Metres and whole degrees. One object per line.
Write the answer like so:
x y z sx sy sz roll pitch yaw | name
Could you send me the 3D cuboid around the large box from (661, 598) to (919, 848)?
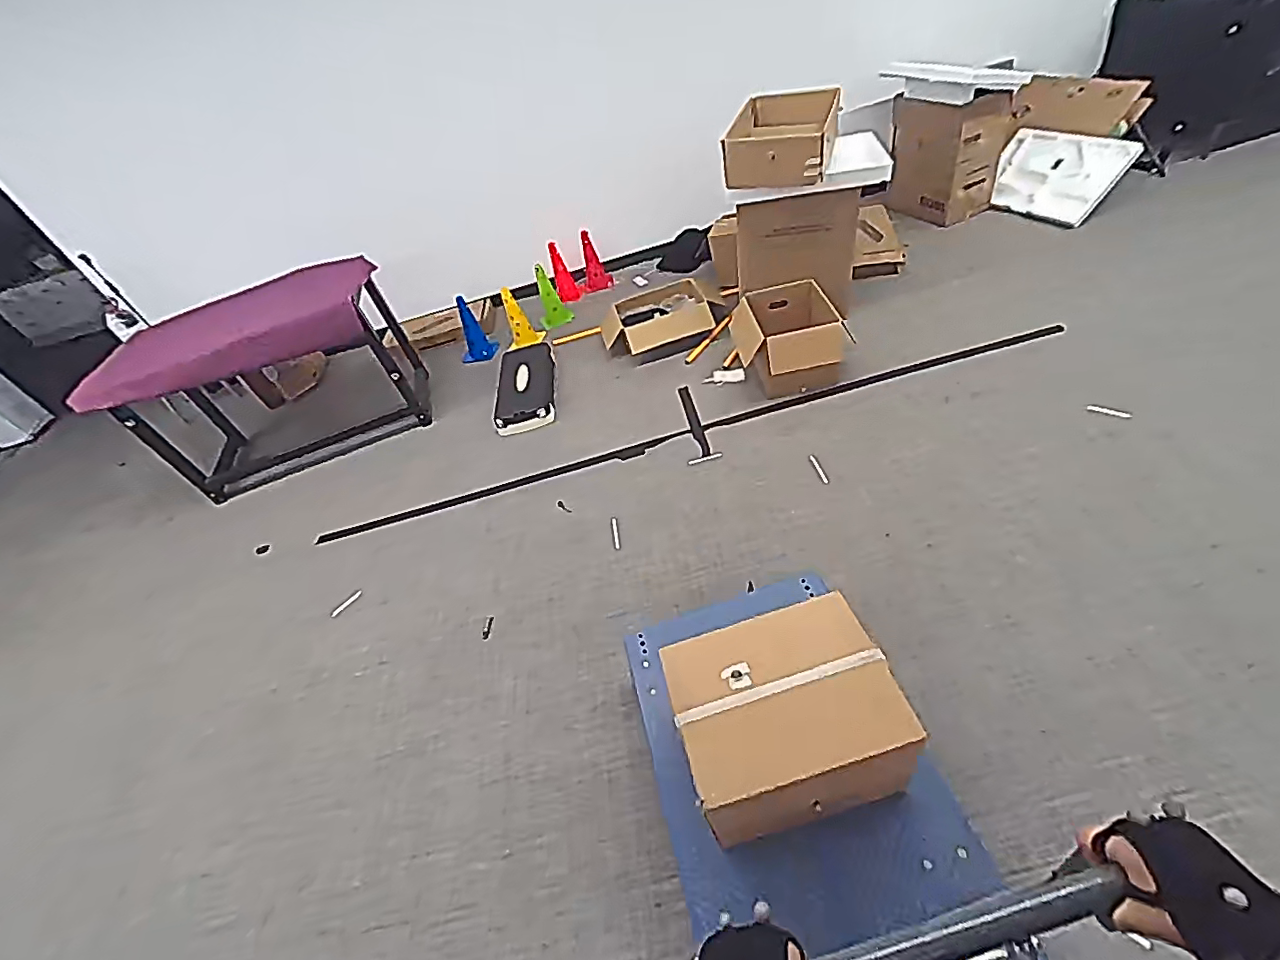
0.299 0.515 1.142 0.408 0.320 0.320 -19 43 0 | large box
